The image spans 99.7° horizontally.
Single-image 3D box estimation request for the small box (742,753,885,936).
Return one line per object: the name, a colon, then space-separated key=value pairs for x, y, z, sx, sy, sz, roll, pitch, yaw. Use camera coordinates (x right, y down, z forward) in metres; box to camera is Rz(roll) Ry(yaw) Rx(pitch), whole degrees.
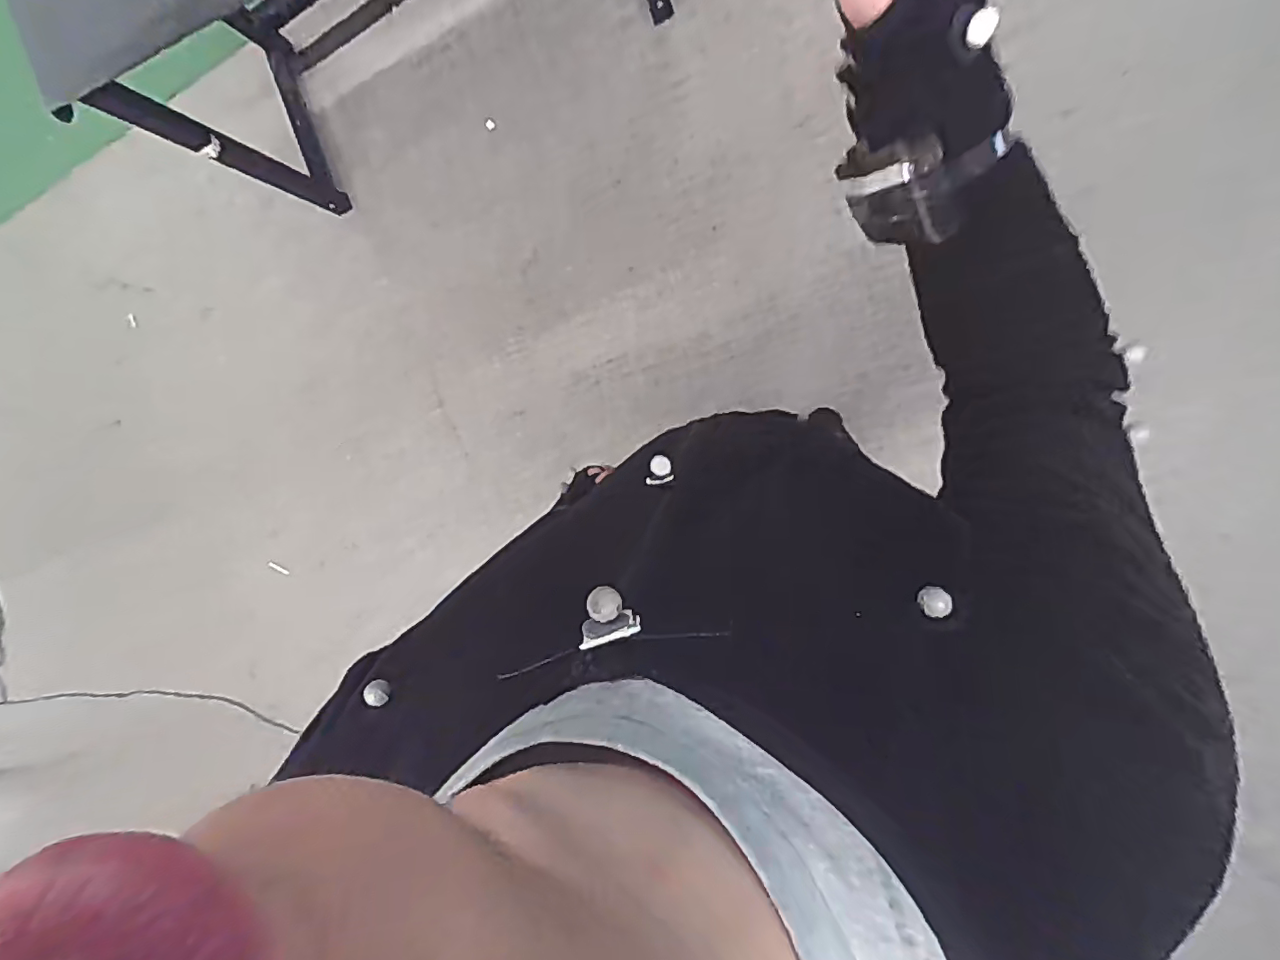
small box: x=0.278 y=0.587 z=0.885 sx=0.168 sy=0.176 sz=0.179 roll=-21 pitch=93 yaw=16
